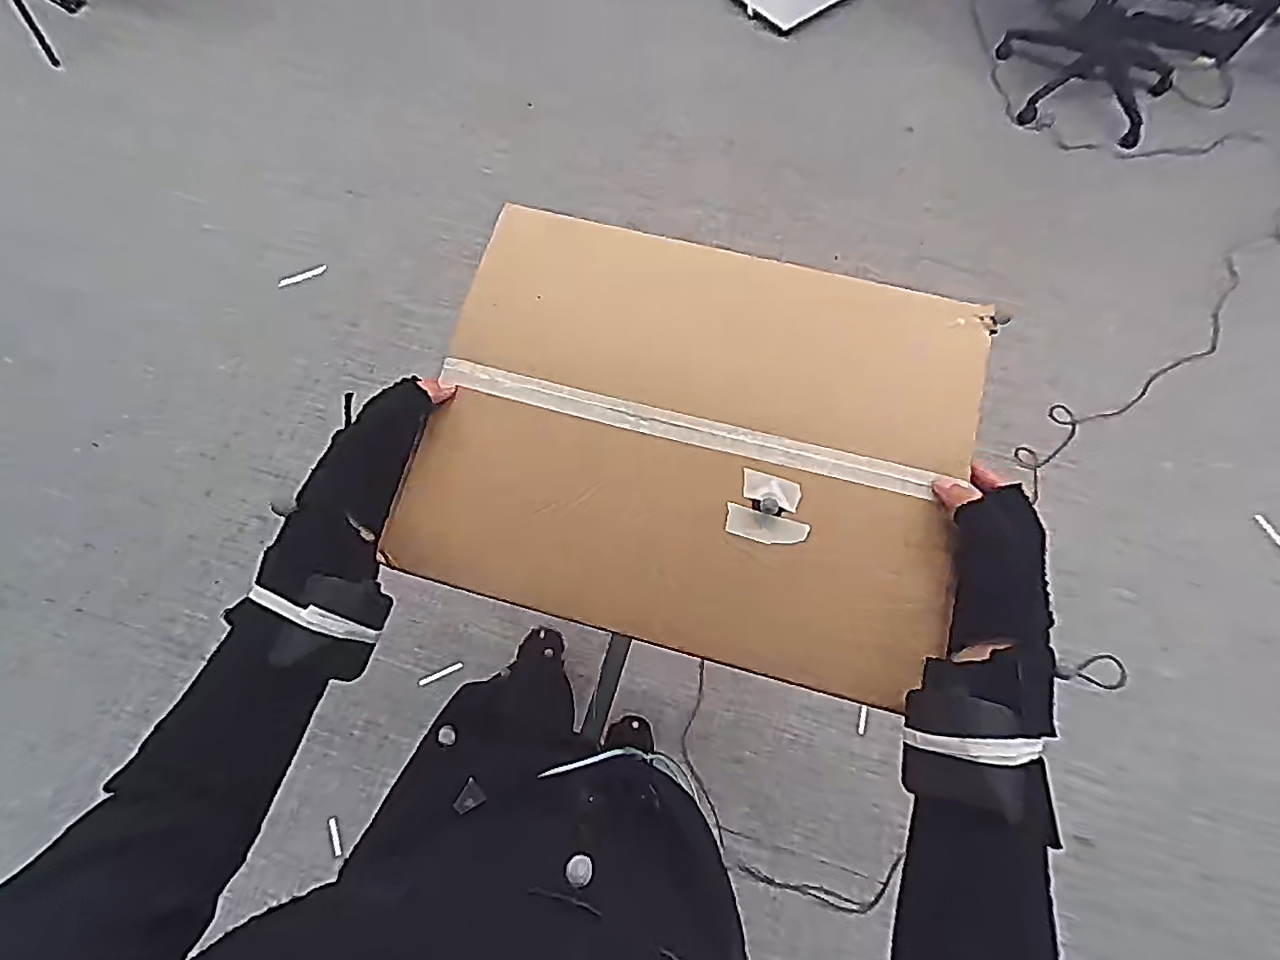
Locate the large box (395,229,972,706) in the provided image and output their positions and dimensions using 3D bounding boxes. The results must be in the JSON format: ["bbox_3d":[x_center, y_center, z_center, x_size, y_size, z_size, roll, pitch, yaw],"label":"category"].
[{"bbox_3d":[0.044,0.003,0.567,0.408,0.320,0.320,14,79,4],"label":"large box"}]
